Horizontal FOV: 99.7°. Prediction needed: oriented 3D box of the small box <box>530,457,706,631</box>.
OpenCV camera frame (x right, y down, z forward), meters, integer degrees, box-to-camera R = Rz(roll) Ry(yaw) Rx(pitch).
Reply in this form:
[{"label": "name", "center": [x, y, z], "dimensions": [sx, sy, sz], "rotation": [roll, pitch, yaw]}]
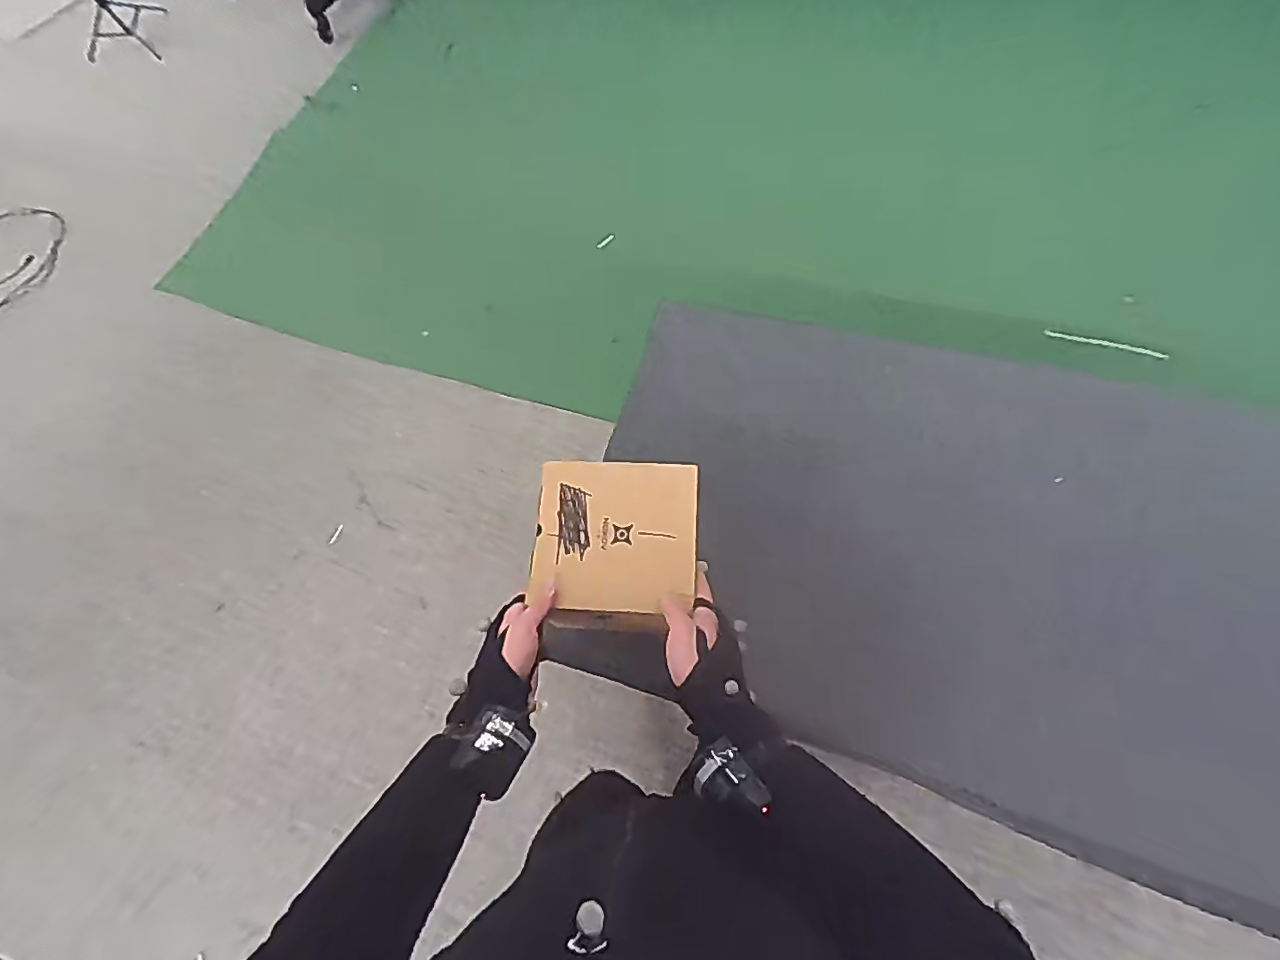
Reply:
[{"label": "small box", "center": [-0.016, 0.083, 0.640], "dimensions": [0.179, 0.176, 0.168], "rotation": [3, 69, 4]}]
